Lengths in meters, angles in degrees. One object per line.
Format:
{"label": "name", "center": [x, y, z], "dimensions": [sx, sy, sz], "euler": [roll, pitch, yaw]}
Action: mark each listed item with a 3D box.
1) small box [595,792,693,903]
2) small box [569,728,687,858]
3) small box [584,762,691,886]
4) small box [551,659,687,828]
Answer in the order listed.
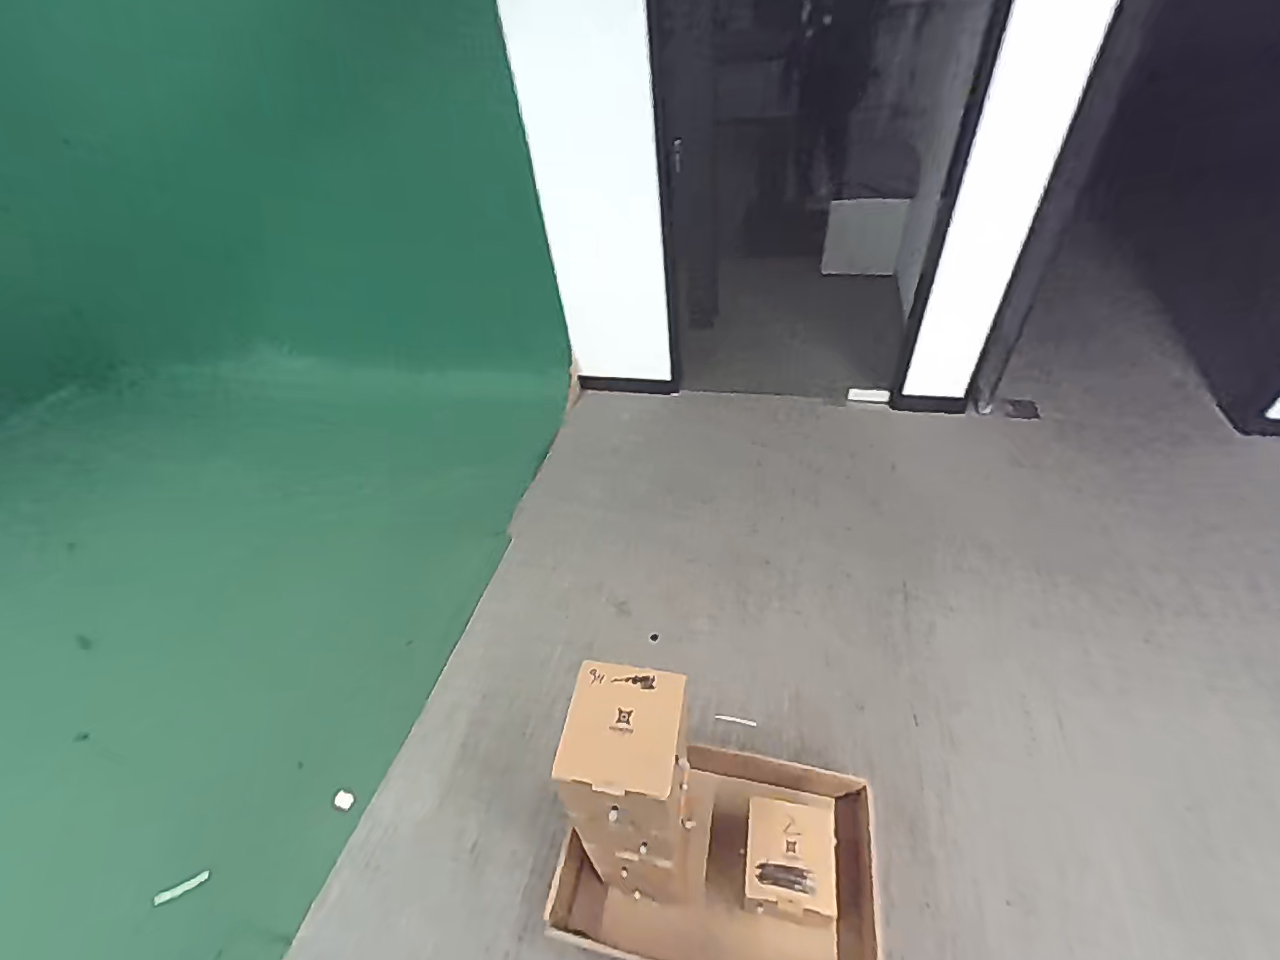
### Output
{"label": "small box", "center": [0.015, 0.765, 1.156], "dimensions": [0.168, 0.176, 0.179], "euler": [7, 45, 14]}
{"label": "small box", "center": [-0.010, 0.524, 0.937], "dimensions": [0.168, 0.176, 0.179], "euler": [6, 45, 11]}
{"label": "small box", "center": [0.003, 0.646, 1.045], "dimensions": [0.168, 0.176, 0.179], "euler": [7, 45, 13]}
{"label": "small box", "center": [-0.020, 0.404, 0.826], "dimensions": [0.168, 0.176, 0.179], "euler": [6, 46, 10]}
